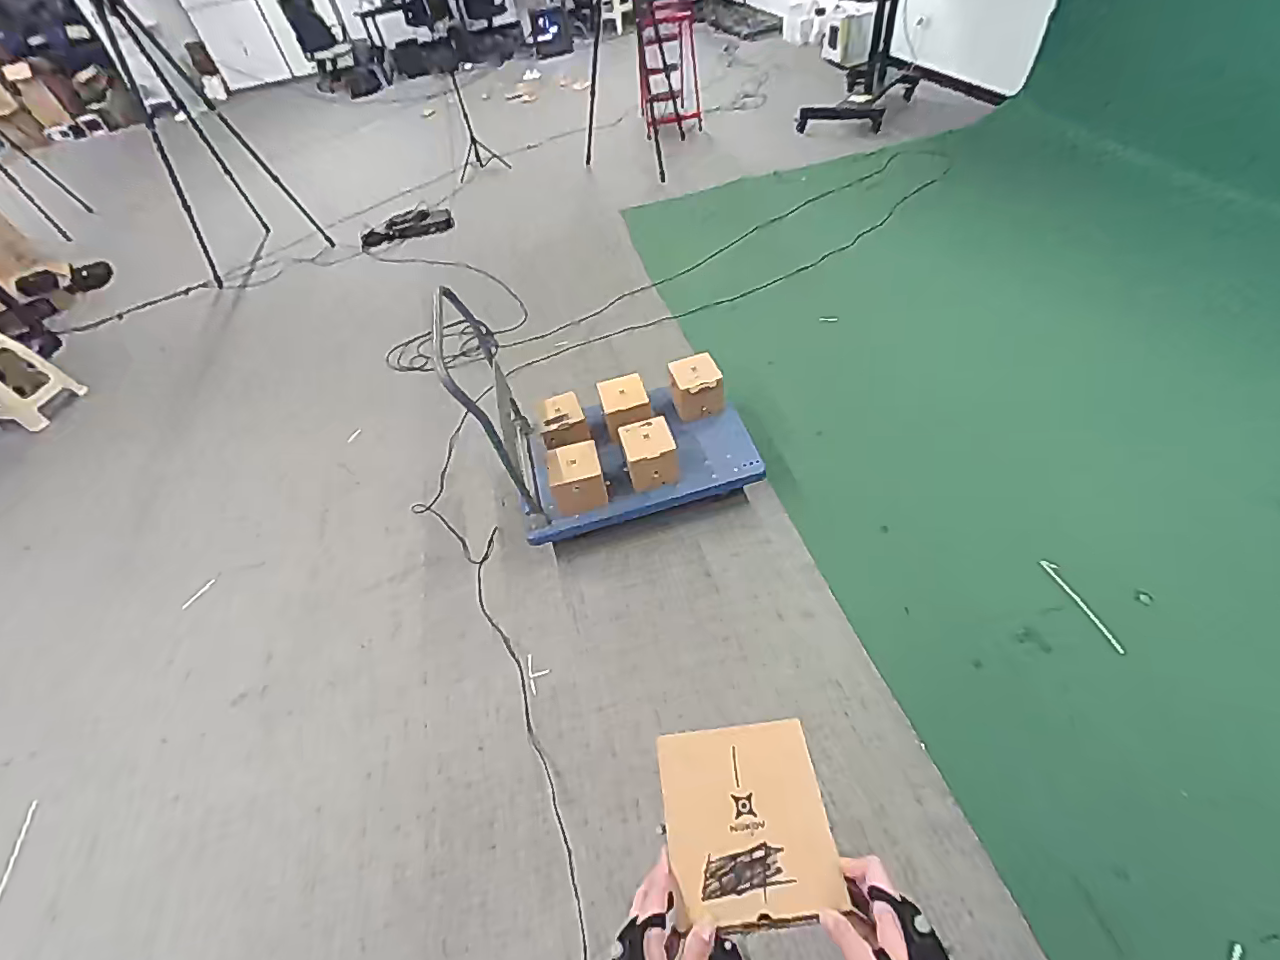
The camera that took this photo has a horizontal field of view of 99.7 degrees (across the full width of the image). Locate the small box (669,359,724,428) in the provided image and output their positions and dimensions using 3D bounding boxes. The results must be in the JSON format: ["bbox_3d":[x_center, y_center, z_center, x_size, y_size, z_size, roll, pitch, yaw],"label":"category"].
[{"bbox_3d":[0.217,-0.330,2.069,0.168,0.176,0.179,-17,49,-3],"label":"small box"}]

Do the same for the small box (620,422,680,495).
[{"bbox_3d":[0.037,-0.067,1.875,0.168,0.176,0.179,-15,49,-4],"label":"small box"}]

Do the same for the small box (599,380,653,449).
[{"bbox_3d":[-0.050,-0.247,2.049,0.168,0.176,0.179,-16,50,-4],"label":"small box"}]

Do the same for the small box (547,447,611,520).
[{"bbox_3d":[-0.209,0.016,1.849,0.179,0.176,0.168,-13,49,-3],"label":"small box"}]

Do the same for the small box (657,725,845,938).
[{"bbox_3d":[0.115,0.409,0.626,0.168,0.176,0.179,-7,47,-1],"label":"small box"}]
